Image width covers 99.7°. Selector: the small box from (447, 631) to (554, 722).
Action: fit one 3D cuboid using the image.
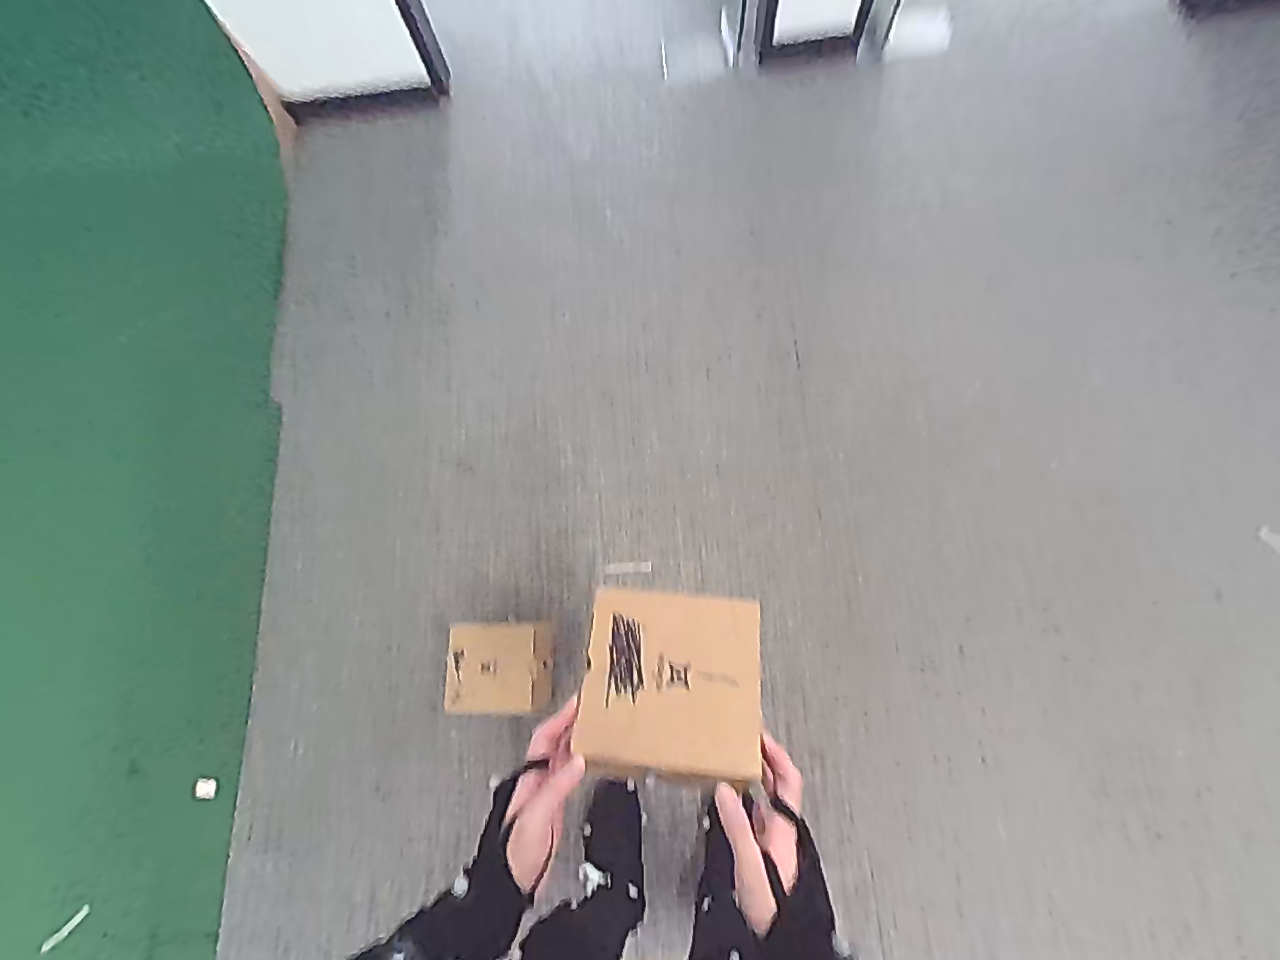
[{"bbox_3d":[-0.281,0.403,1.130,0.179,0.176,0.168,-1,74,3],"label":"small box"}]
